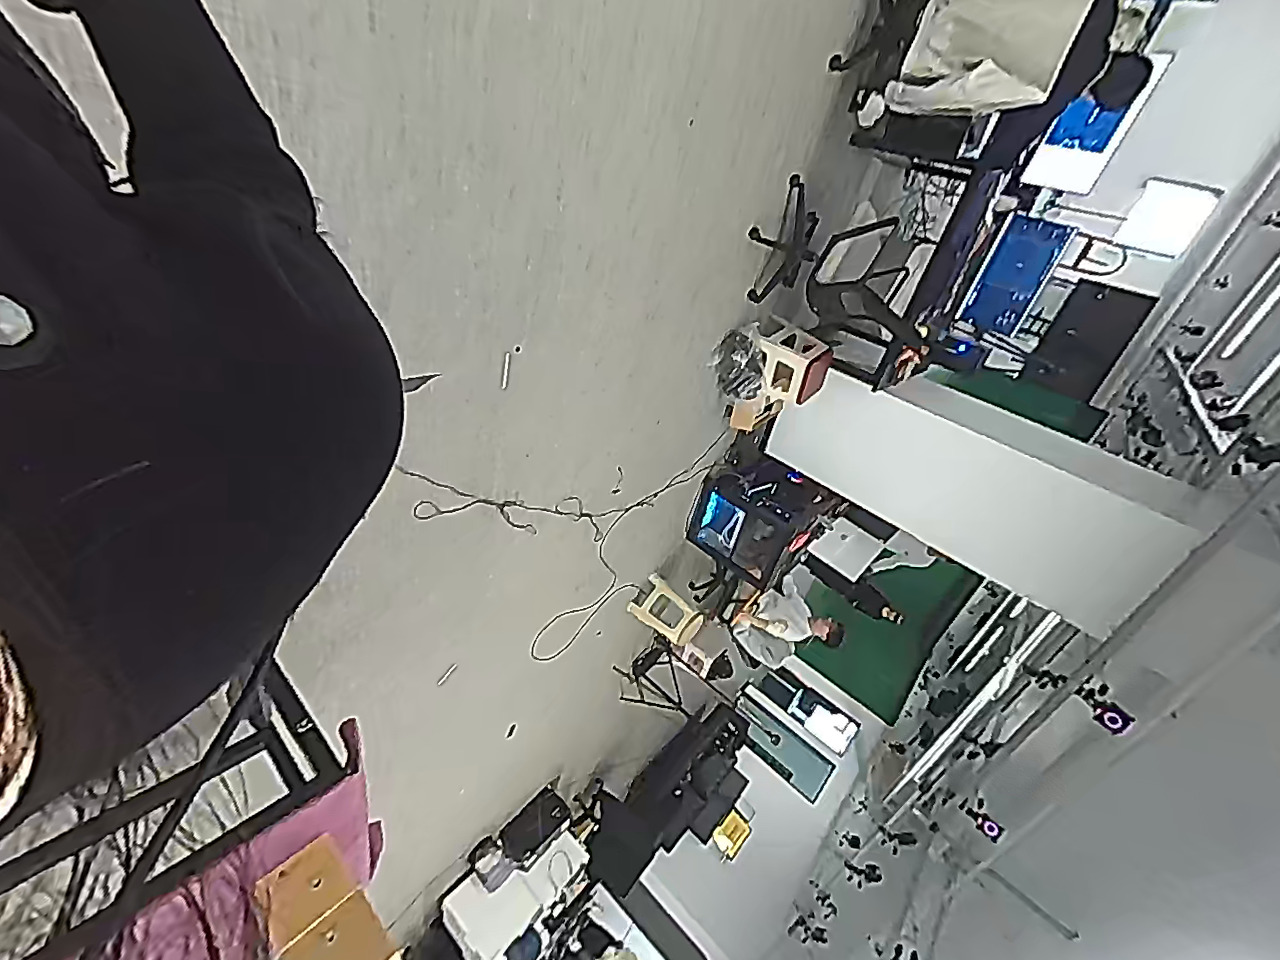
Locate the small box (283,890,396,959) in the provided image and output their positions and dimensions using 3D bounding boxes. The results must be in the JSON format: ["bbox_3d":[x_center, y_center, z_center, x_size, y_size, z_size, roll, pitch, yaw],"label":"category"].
[{"bbox_3d":[-0.666,1.079,1.203,0.179,0.176,0.168,-27,141,-41],"label":"small box"}]

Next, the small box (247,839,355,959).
[{"bbox_3d":[-0.788,0.994,1.271,0.168,0.176,0.179,-27,141,-43],"label":"small box"}]
